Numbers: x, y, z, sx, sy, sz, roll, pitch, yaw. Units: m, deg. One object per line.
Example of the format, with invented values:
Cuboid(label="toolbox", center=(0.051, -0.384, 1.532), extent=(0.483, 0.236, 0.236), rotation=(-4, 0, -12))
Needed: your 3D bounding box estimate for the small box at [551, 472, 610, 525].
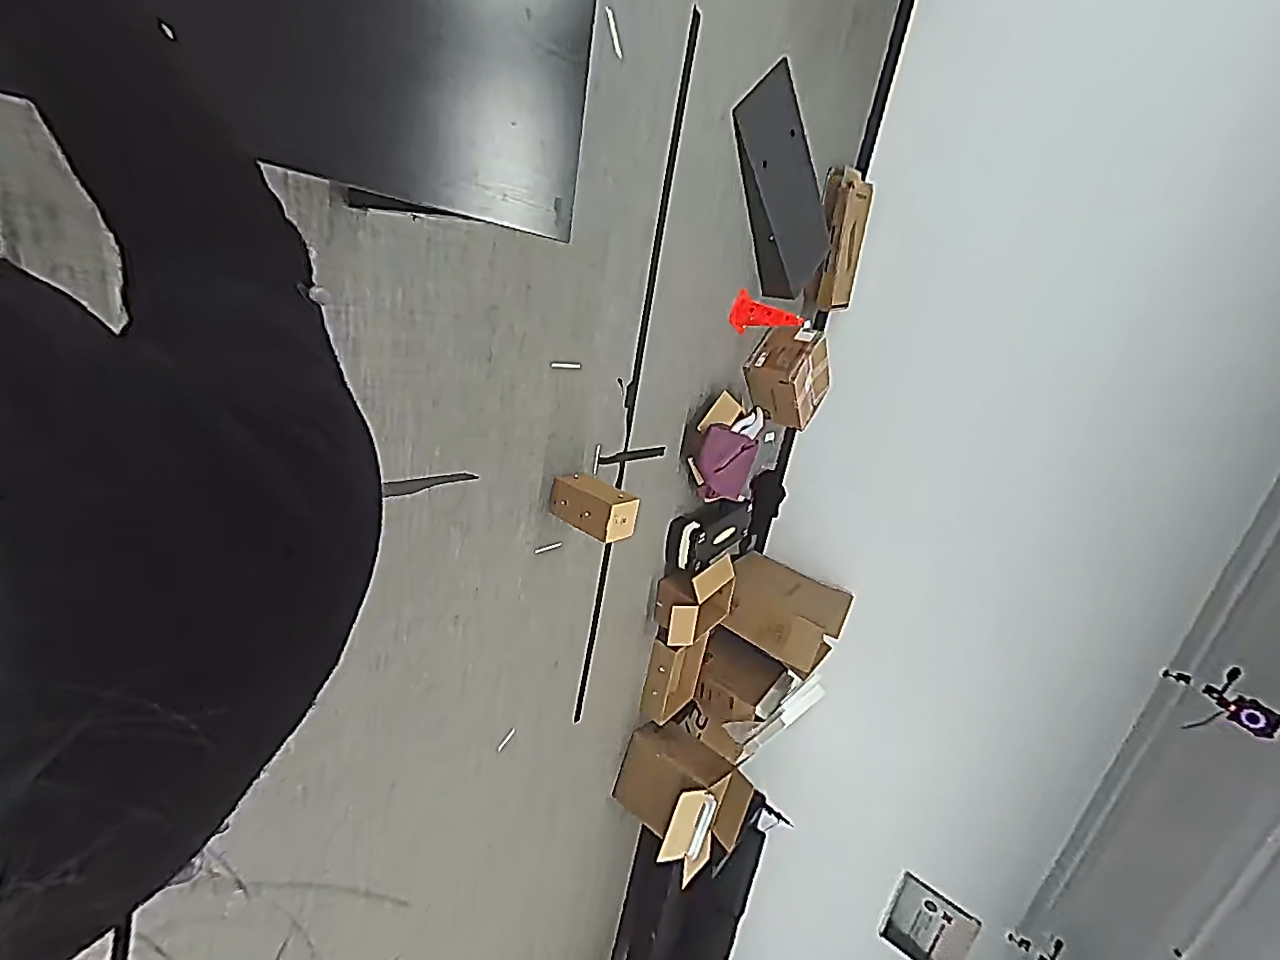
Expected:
Cuboid(label="small box", center=(-0.255, 0.073, 2.290), extent=(0.179, 0.176, 0.168), rotation=(-12, 119, -50))

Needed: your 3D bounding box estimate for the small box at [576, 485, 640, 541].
Cuboid(label="small box", center=(-0.132, 0.126, 2.192), extent=(0.179, 0.176, 0.168), rotation=(-10, 117, -51))
